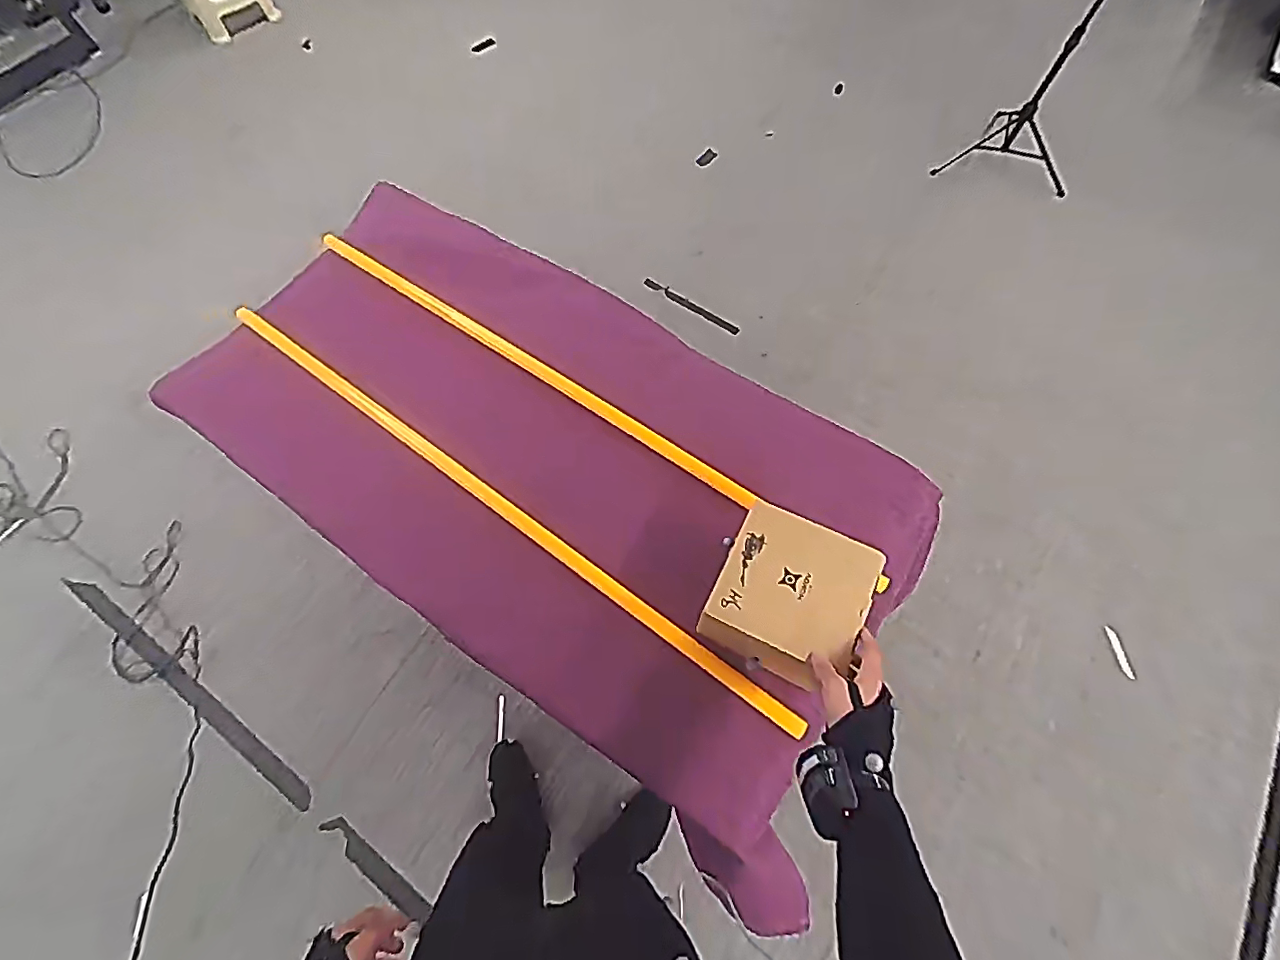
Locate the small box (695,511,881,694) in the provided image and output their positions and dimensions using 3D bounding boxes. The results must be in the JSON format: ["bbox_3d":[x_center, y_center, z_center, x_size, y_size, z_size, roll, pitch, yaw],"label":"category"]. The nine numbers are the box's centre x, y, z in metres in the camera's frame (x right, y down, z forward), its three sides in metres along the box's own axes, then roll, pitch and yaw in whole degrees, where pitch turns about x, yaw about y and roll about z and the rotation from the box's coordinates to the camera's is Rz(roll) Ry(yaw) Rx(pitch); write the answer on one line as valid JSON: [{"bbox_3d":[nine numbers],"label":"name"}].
[{"bbox_3d":[0.188,0.171,0.734,0.179,0.176,0.168,25,70,13],"label":"small box"}]
